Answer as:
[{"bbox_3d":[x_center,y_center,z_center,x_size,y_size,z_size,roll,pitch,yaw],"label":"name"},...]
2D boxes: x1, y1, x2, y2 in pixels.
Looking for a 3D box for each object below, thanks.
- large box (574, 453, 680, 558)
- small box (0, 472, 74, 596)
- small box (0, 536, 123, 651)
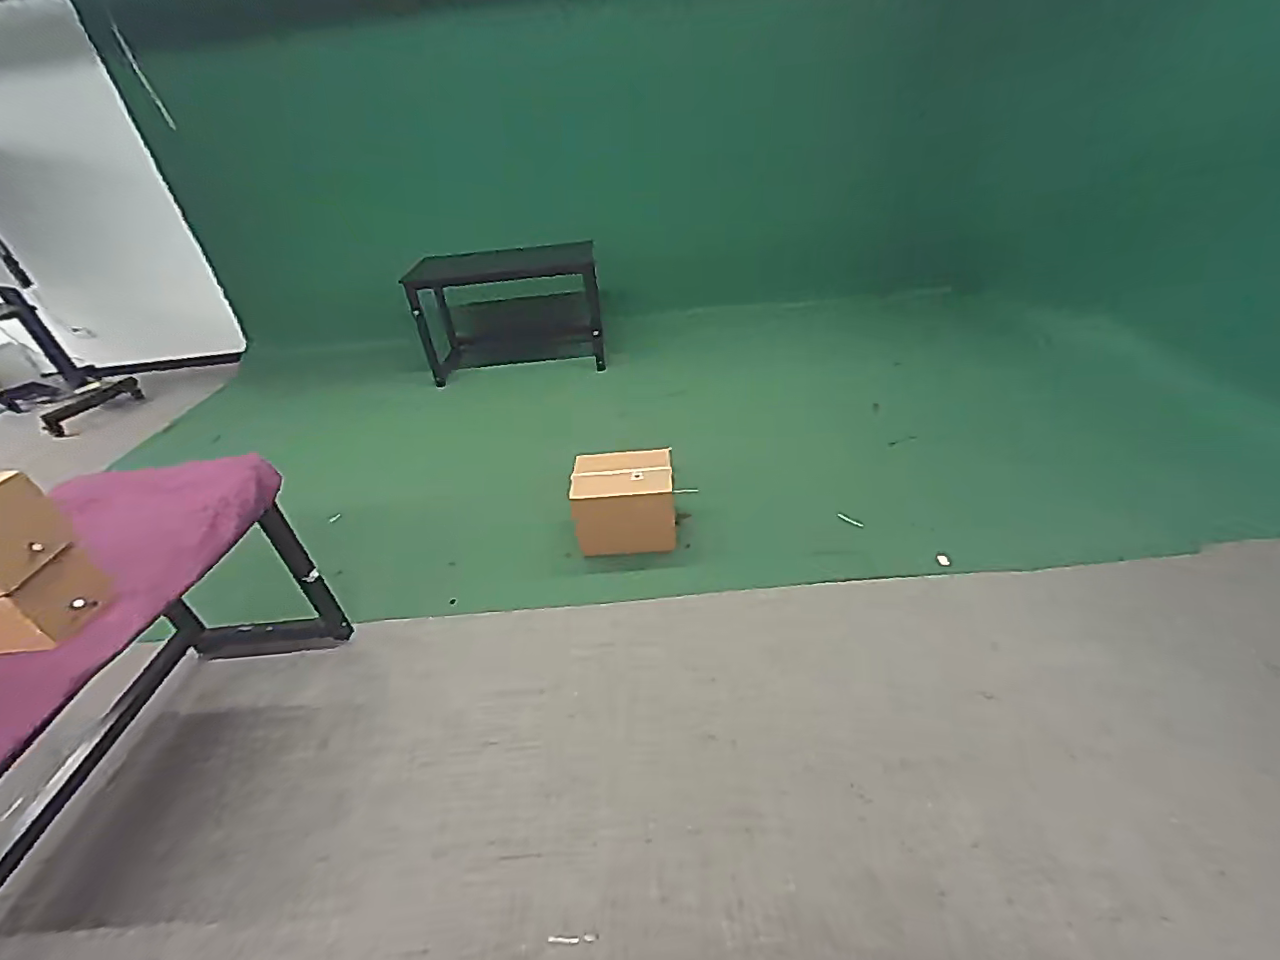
[{"bbox_3d":[-0.047,0.106,2.266,0.408,0.320,0.320,-4,35,3],"label":"large box"},{"bbox_3d":[-1.252,0.105,1.025,0.168,0.176,0.179,-6,35,0],"label":"small box"},{"bbox_3d":[-1.263,0.237,1.125,0.179,0.176,0.168,-4,35,3],"label":"small box"}]
